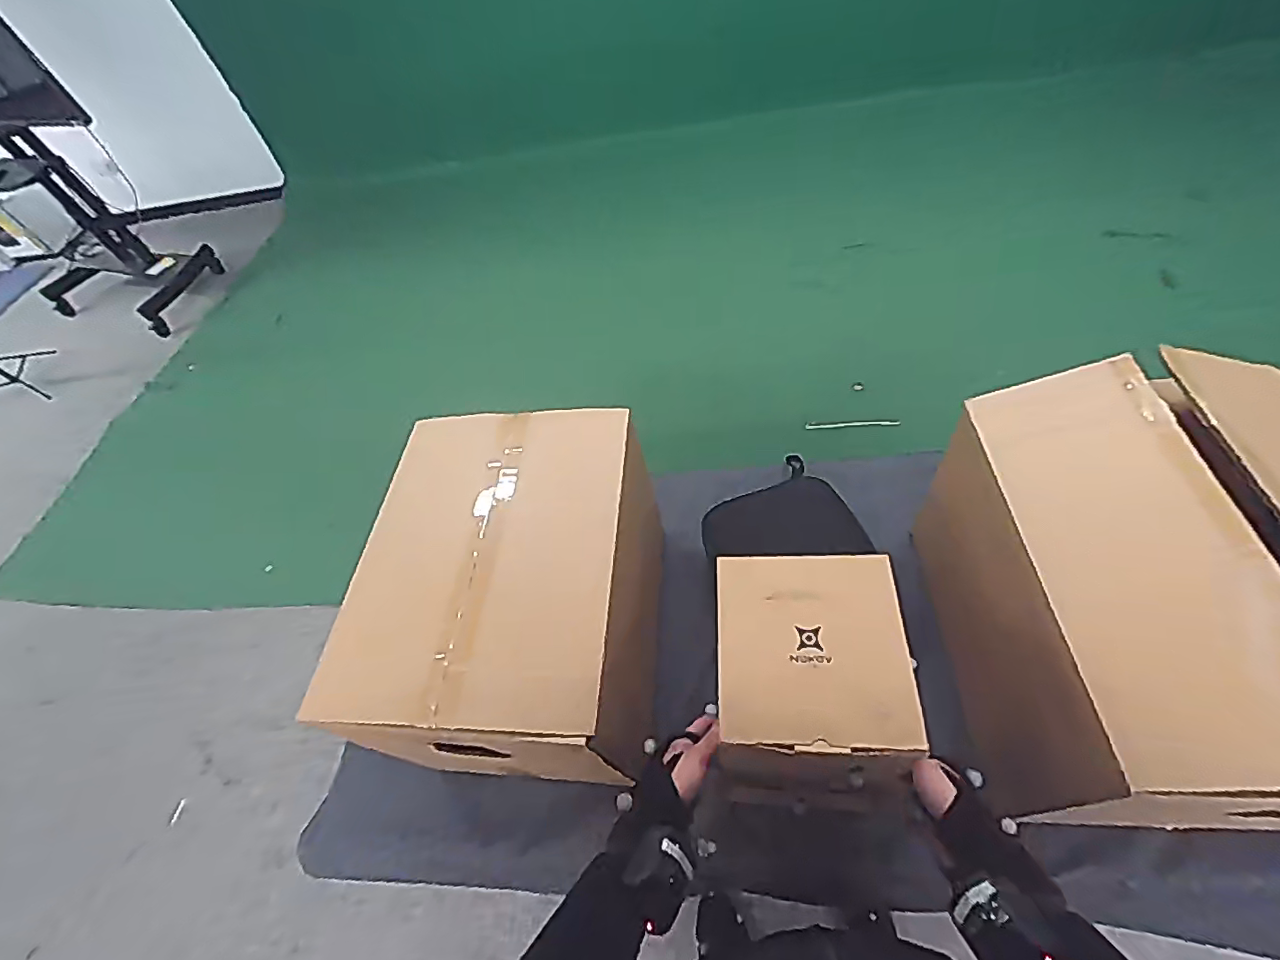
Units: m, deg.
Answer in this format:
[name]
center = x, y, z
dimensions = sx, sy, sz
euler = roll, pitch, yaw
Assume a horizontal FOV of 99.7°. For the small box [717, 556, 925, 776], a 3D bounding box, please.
[small box]
center = 0.165, 0.194, 0.554
dimensions = 0.168, 0.176, 0.179
euler = -2, 54, 8
